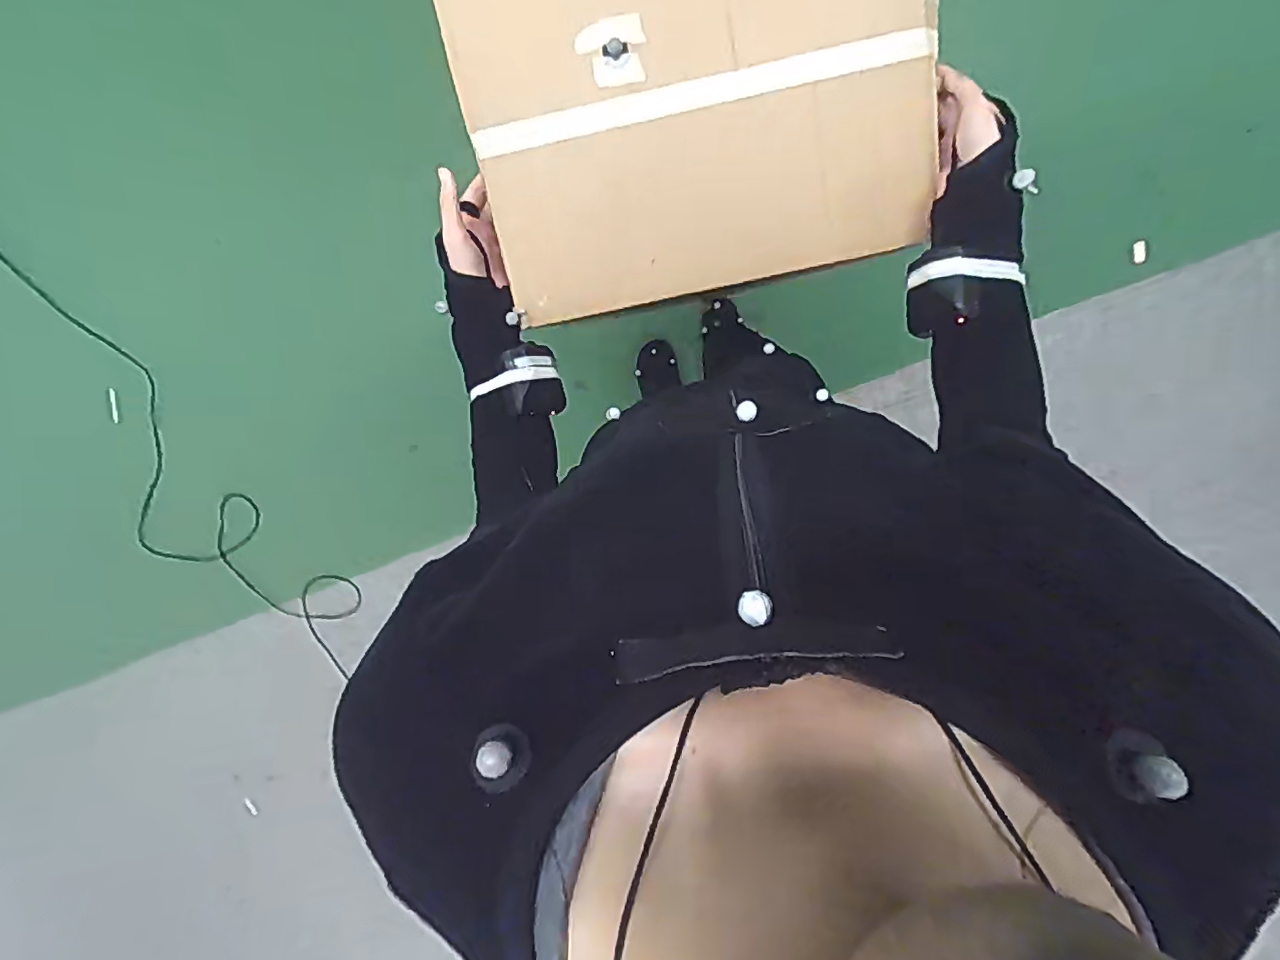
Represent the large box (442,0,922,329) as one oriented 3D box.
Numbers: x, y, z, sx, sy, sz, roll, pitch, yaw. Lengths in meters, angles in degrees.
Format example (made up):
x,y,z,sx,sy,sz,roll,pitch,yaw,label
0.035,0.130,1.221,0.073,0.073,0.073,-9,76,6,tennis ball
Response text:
x,y,z,sx,sy,sz,roll,pitch,yaw,label
0.049,-0.374,0.631,0.408,0.320,0.320,-11,105,2,large box
